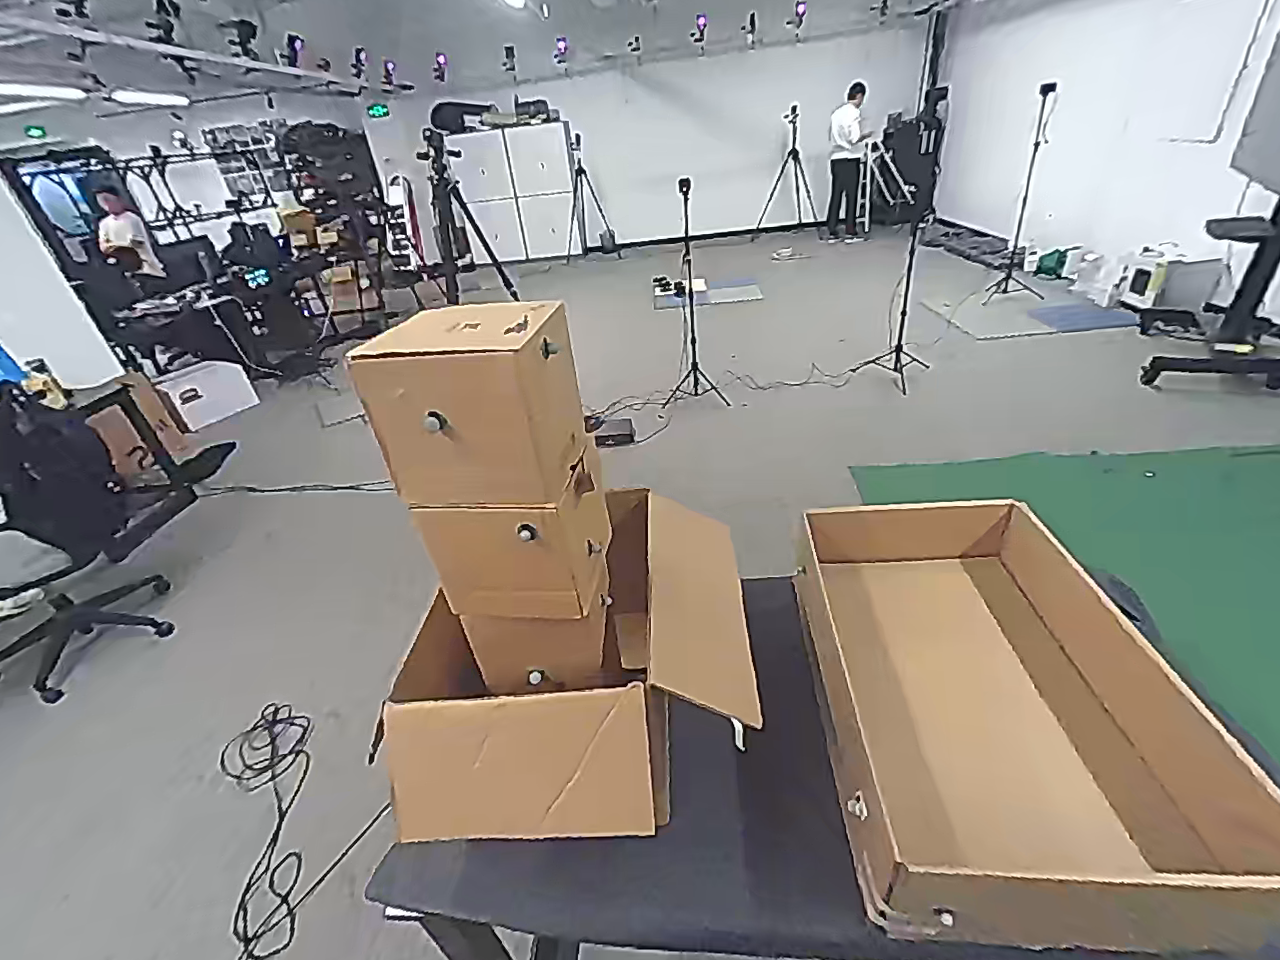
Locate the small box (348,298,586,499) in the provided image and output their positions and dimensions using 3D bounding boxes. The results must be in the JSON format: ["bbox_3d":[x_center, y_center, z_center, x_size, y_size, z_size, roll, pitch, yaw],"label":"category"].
[{"bbox_3d":[-0.171,-0.089,0.598,0.179,0.176,0.168,-1,34,9],"label":"small box"}]

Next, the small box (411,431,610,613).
[{"bbox_3d":[-0.147,0.051,0.682,0.179,0.176,0.168,0,34,10],"label":"small box"}]
